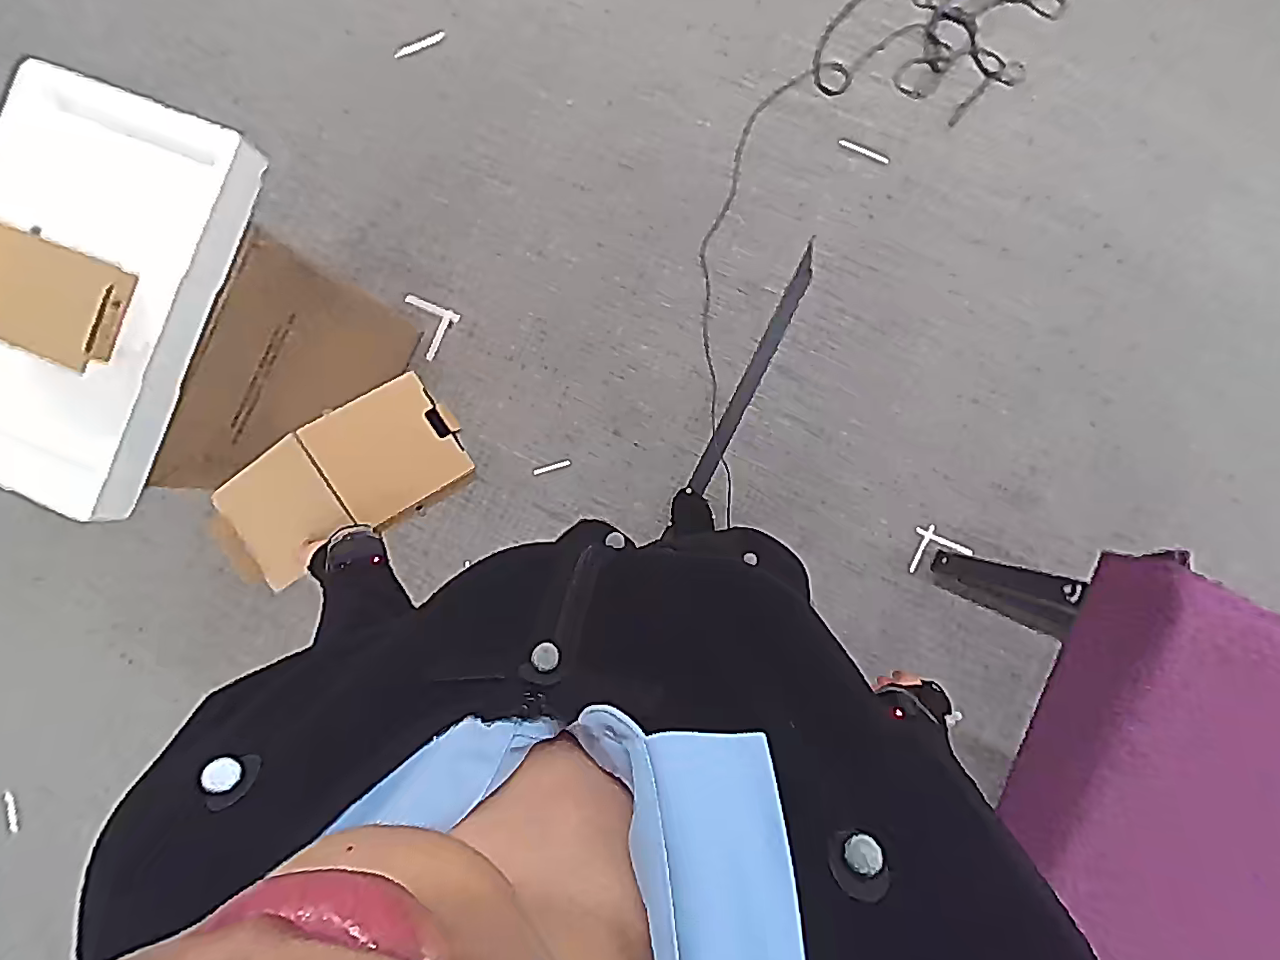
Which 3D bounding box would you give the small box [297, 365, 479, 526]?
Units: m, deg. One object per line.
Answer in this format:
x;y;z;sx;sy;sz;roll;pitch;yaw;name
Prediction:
-0.357;-0.043;0.805;0.179;0.176;0.168;-31;94;-15;small box
